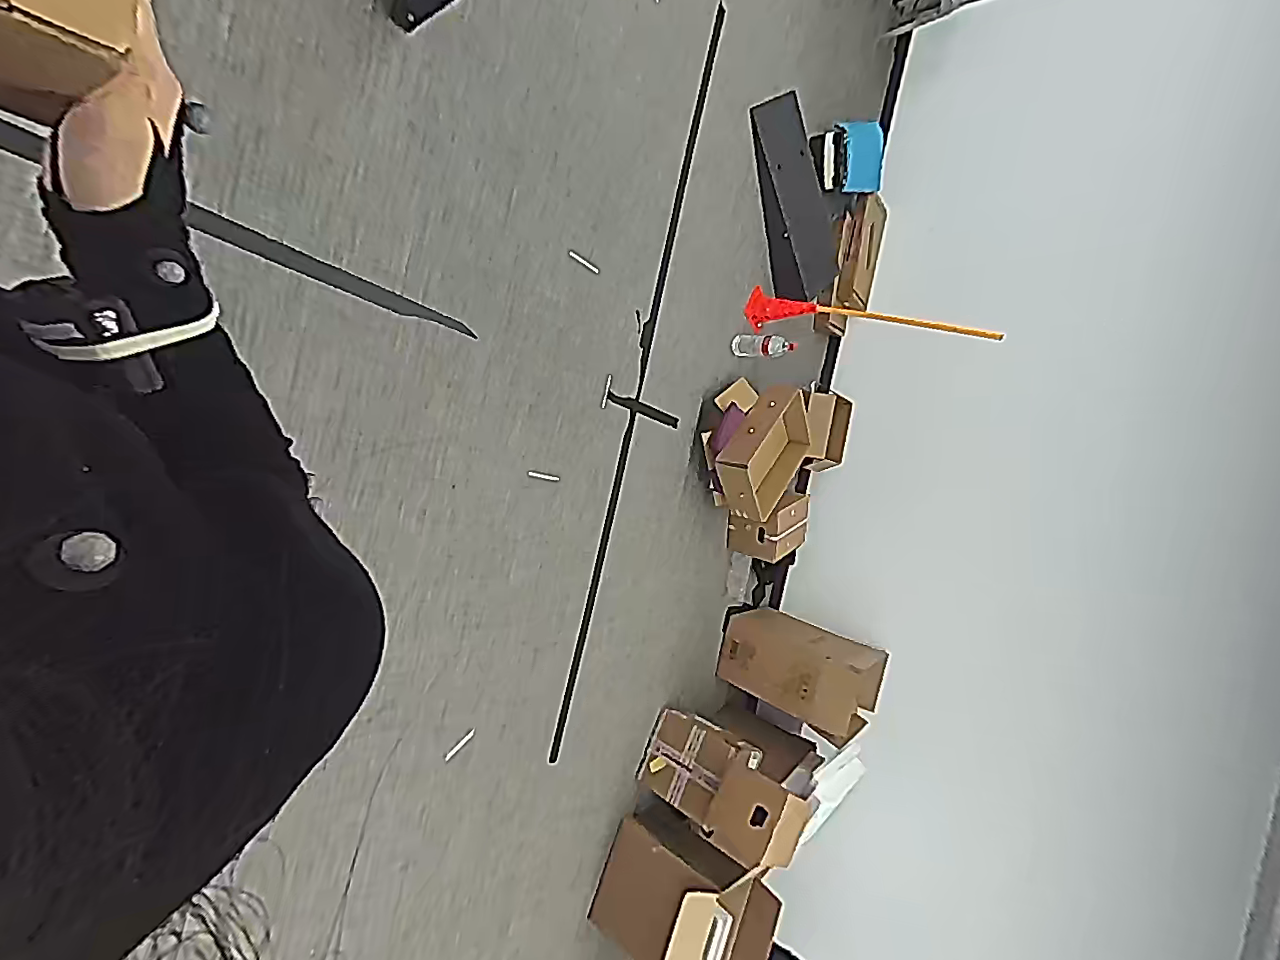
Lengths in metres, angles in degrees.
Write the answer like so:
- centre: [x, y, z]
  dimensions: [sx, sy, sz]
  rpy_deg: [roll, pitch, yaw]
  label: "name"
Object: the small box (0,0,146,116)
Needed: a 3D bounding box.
- centre: [-0.281, -0.253, 0.173]
  dimensions: [0.168, 0.176, 0.179]
  rpy_deg: [-1, 105, -54]
  label: "small box"
